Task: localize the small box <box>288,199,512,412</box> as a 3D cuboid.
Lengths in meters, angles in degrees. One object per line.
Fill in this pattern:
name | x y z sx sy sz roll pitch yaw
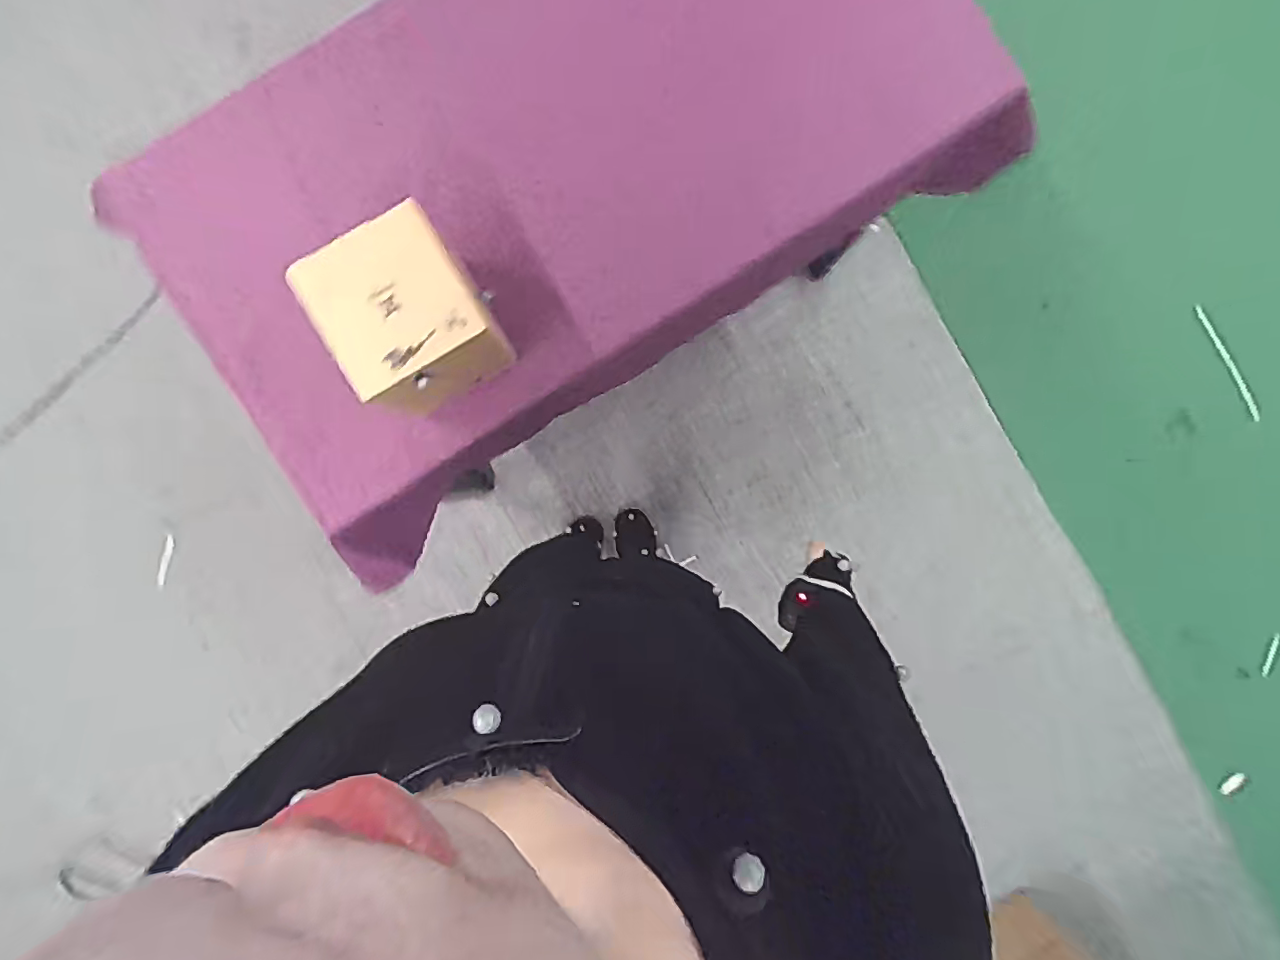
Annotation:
small box | -0.290 -0.206 0.693 0.168 0.176 0.179 -31 90 0
